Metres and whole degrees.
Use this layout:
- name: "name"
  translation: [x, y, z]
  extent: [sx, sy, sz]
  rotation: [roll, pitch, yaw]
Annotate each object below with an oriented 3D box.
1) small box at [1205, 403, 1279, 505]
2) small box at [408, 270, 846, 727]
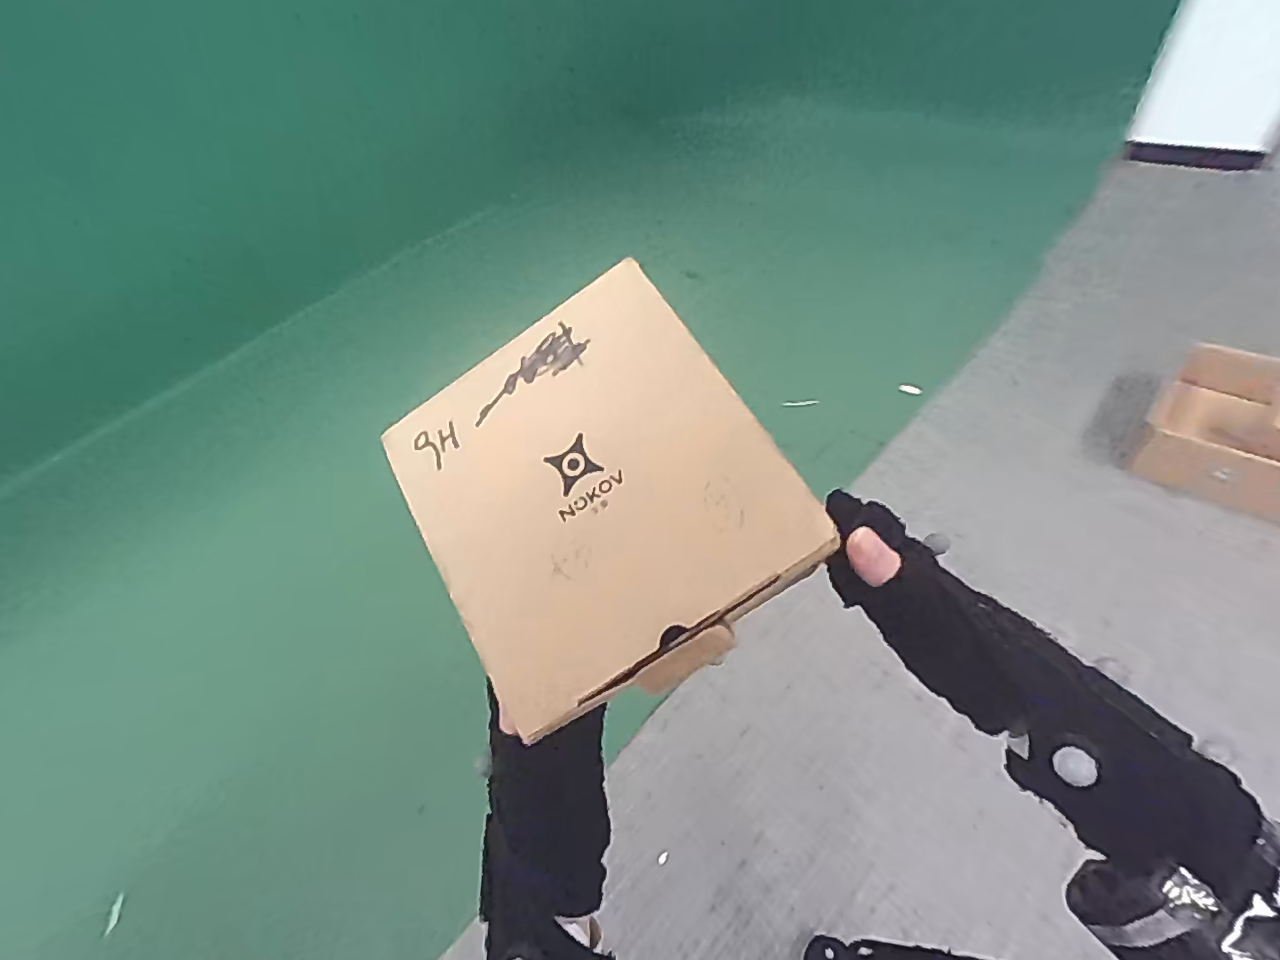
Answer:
- name: "small box"
  translation: [1.631, -0.062, 1.390]
  extent: [0.179, 0.176, 0.168]
  rotation: [30, 62, 34]
- name: "small box"
  translation: [0.000, 0.017, 0.340]
  extent: [0.168, 0.176, 0.179]
  rotation: [-32, 73, 4]
